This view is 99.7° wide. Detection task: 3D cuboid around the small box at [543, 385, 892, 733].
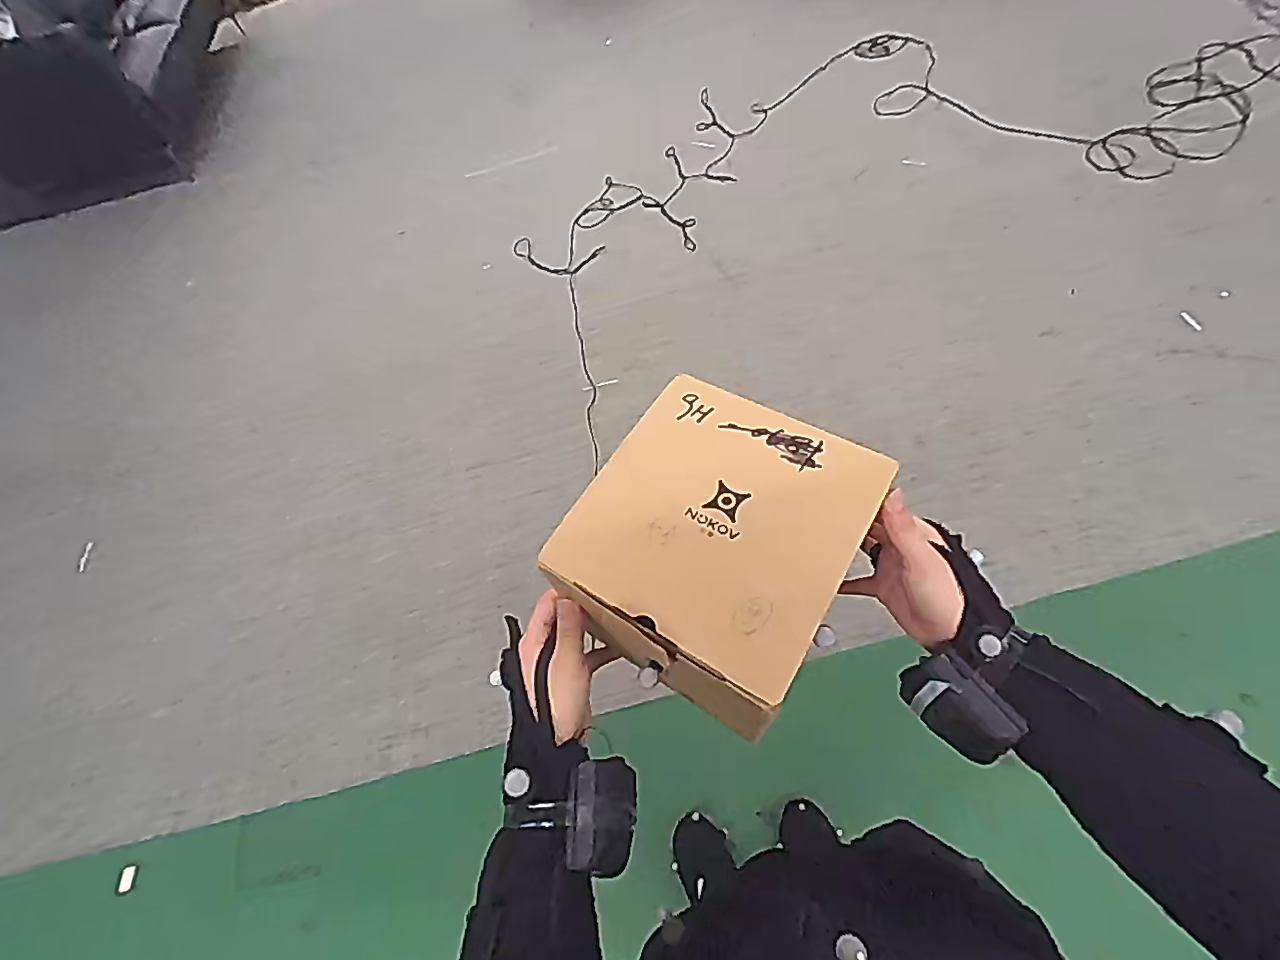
[{"bbox_3d":[0.061,0.067,0.413,0.168,0.176,0.179,27,67,22],"label":"small box"}]
